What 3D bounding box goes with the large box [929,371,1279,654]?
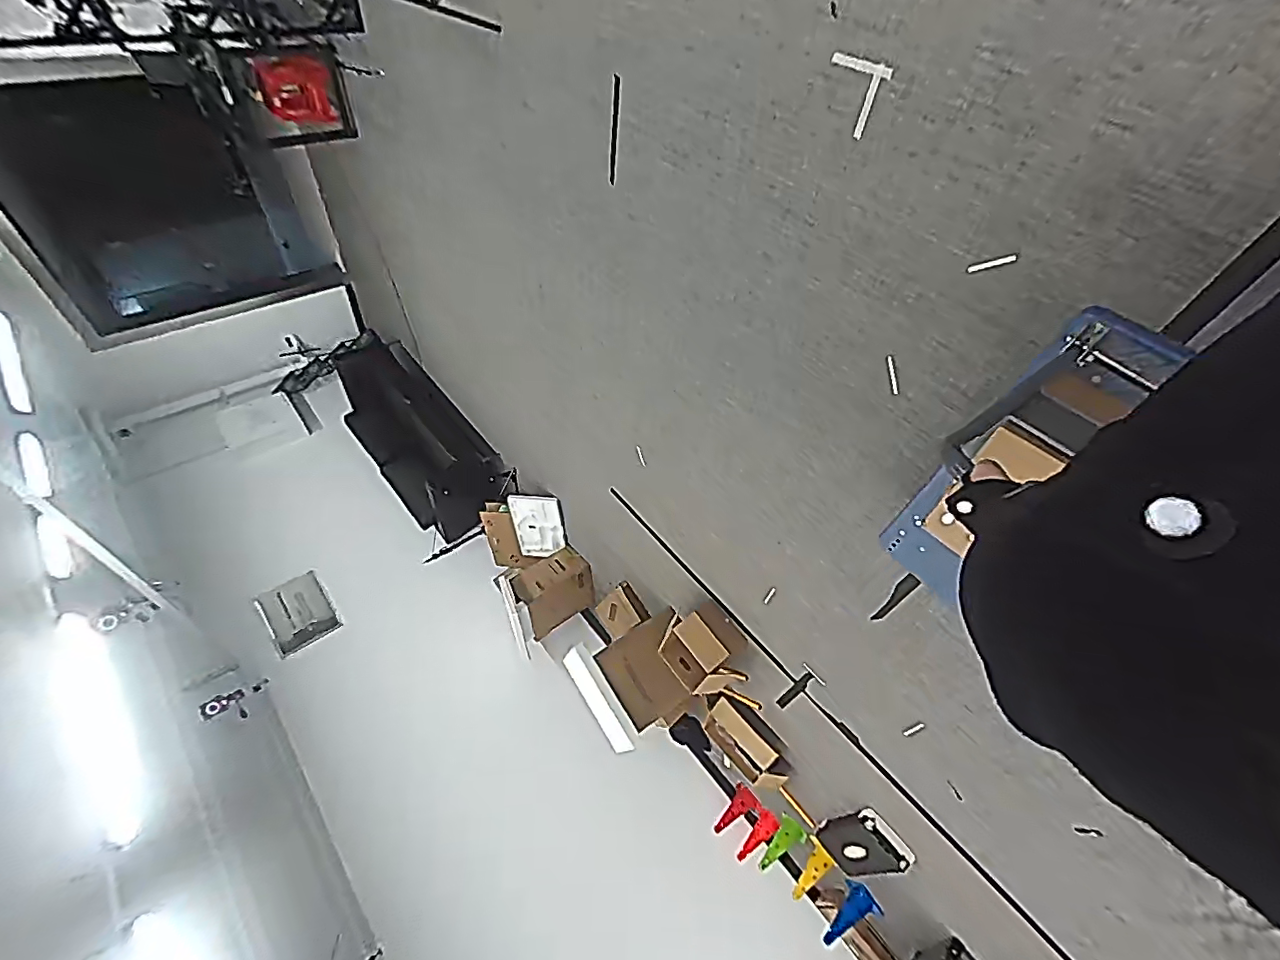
[{"bbox_3d":[0.900,0.050,1.076,0.408,0.320,0.320,45,147,29],"label":"large box"}]
